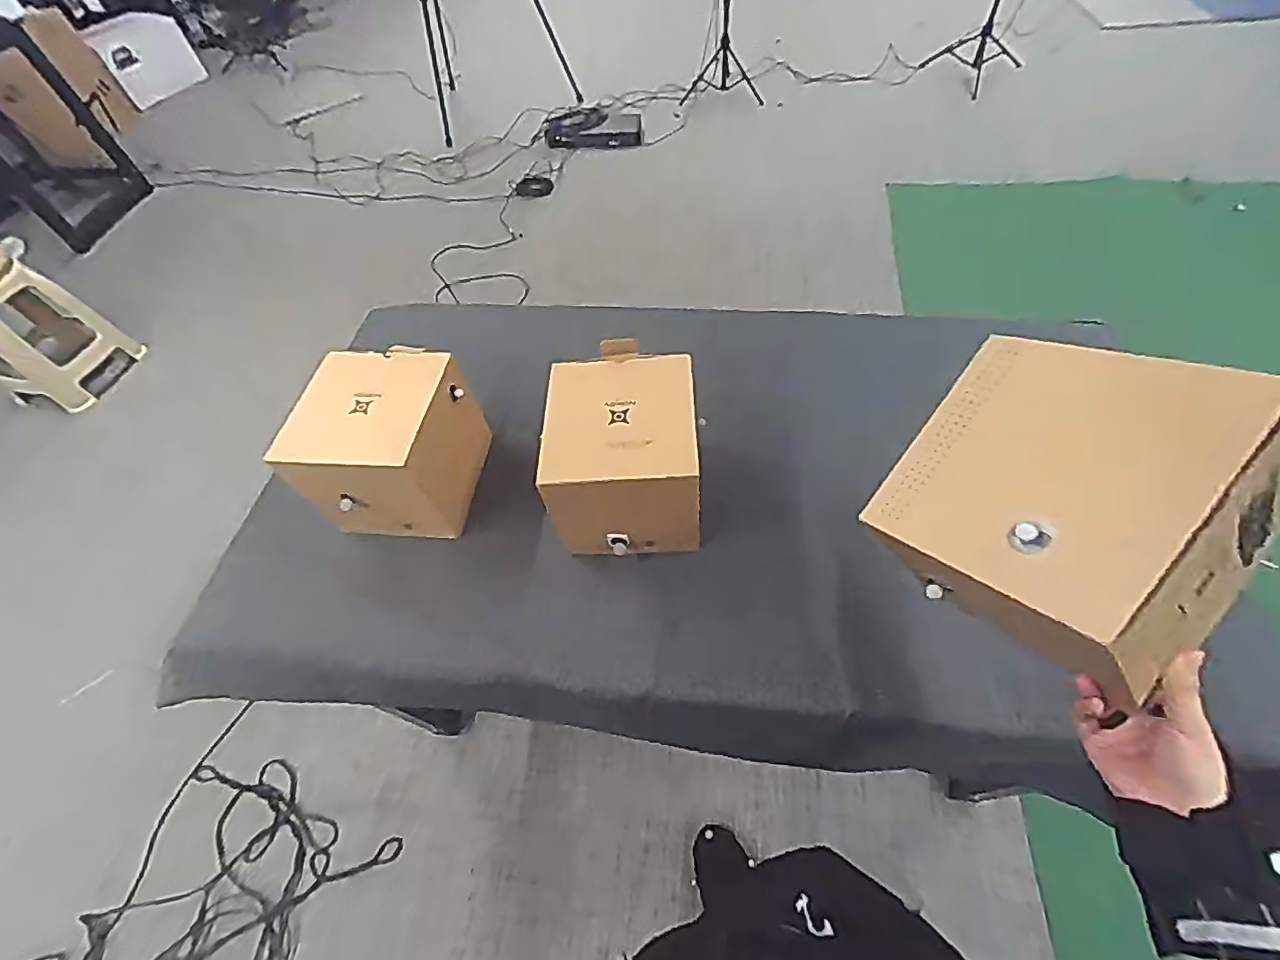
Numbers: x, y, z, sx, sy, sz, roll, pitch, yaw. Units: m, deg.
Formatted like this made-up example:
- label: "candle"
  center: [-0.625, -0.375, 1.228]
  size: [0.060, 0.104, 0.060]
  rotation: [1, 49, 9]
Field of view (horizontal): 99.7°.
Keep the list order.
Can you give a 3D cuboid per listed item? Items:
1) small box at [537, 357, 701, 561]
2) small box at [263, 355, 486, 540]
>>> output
- label: "small box"
  center: [-0.016, -0.021, 0.645]
  size: [0.168, 0.176, 0.179]
  rotation: [-4, 55, 4]
- label: "small box"
  center: [-0.312, -0.037, 0.684]
  size: [0.168, 0.176, 0.179]
  rotation: [2, 54, 7]
